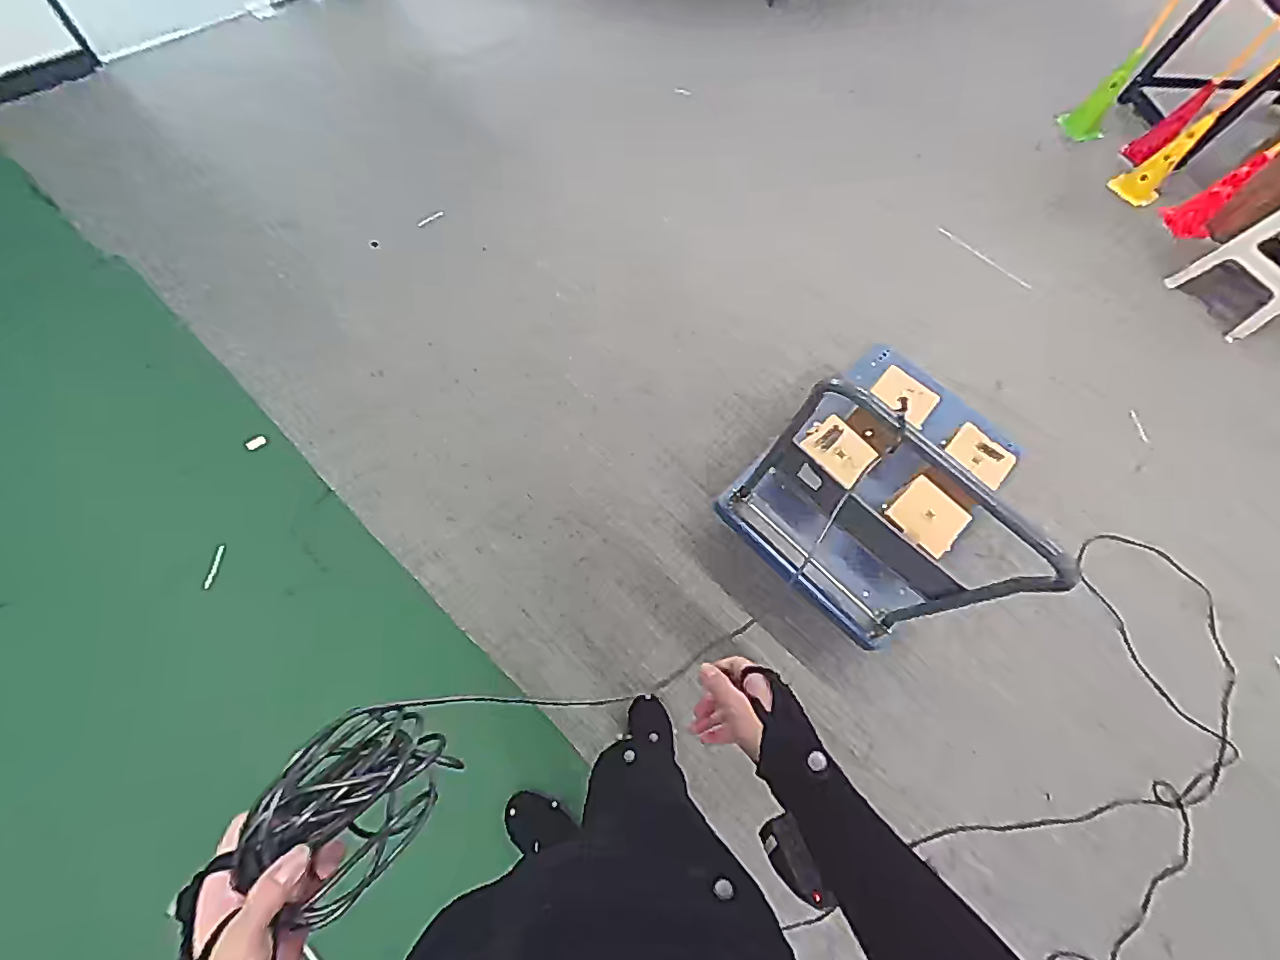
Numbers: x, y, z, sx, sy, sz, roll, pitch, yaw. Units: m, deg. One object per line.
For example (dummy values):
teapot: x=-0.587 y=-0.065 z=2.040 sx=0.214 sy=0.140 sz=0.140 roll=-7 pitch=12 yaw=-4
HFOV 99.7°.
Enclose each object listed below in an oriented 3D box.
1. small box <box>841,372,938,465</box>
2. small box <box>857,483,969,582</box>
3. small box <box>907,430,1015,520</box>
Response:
small box: x=0.721 y=-0.175 z=1.589 sx=0.168 sy=0.176 sz=0.179 roll=41 pitch=68 yaw=10
small box: x=0.719 y=0.145 z=1.445 sx=0.179 sy=0.176 sz=0.168 roll=-39 pitch=76 yaw=-21
small box: x=0.900 y=-0.002 z=1.534 sx=0.168 sy=0.176 sz=0.179 roll=42 pitch=68 yaw=13
